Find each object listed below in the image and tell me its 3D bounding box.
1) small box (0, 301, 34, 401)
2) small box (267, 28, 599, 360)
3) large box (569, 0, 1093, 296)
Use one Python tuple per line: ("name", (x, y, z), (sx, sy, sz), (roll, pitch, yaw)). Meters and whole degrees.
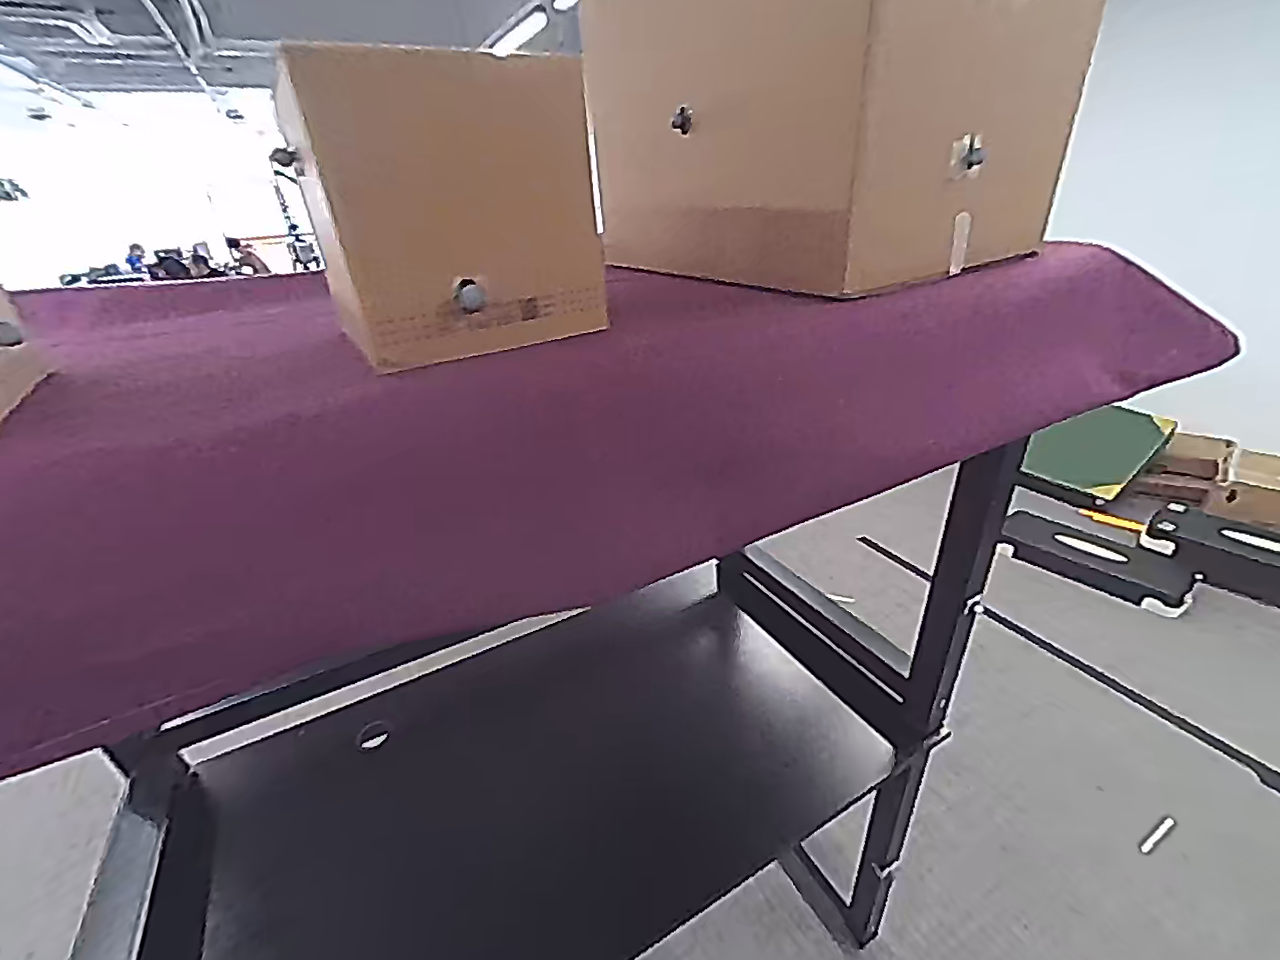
("small box", (-0.444, -0.095, 0.247), (0.168, 0.176, 0.179), (-23, 33, -30))
("small box", (-0.145, -0.194, 0.392), (0.168, 0.176, 0.179), (-21, 33, -26))
("large box", (0.166, -0.391, 0.571), (0.320, 0.320, 0.408), (-20, 31, -26))
